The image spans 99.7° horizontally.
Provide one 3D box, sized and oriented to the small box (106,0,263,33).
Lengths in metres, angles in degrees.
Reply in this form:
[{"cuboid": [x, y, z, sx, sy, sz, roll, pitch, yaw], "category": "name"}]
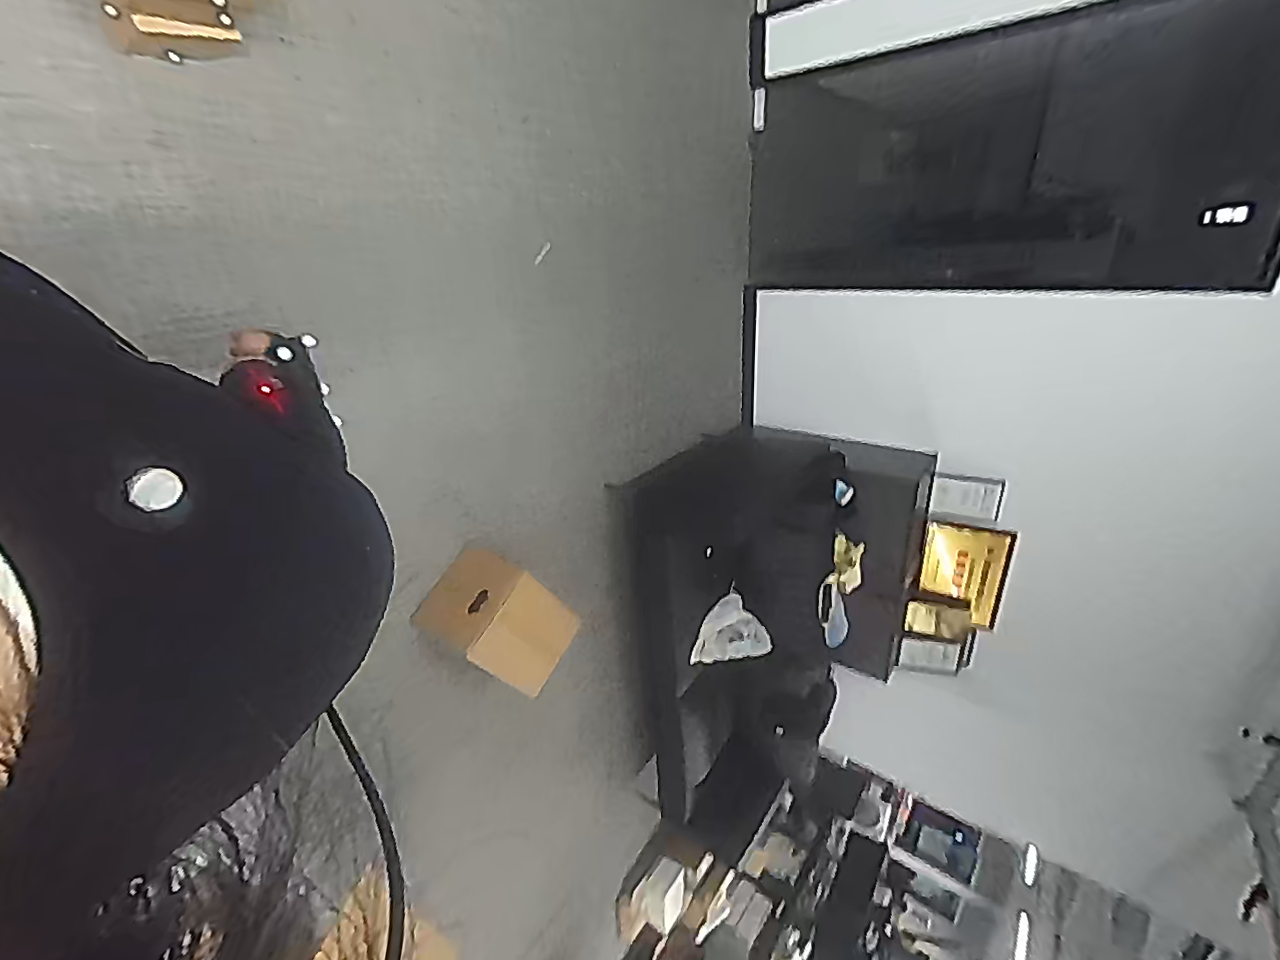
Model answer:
[{"cuboid": [-0.762, -0.857, 0.874, 0.179, 0.176, 0.168, -31, 125, -44], "category": "small box"}]
